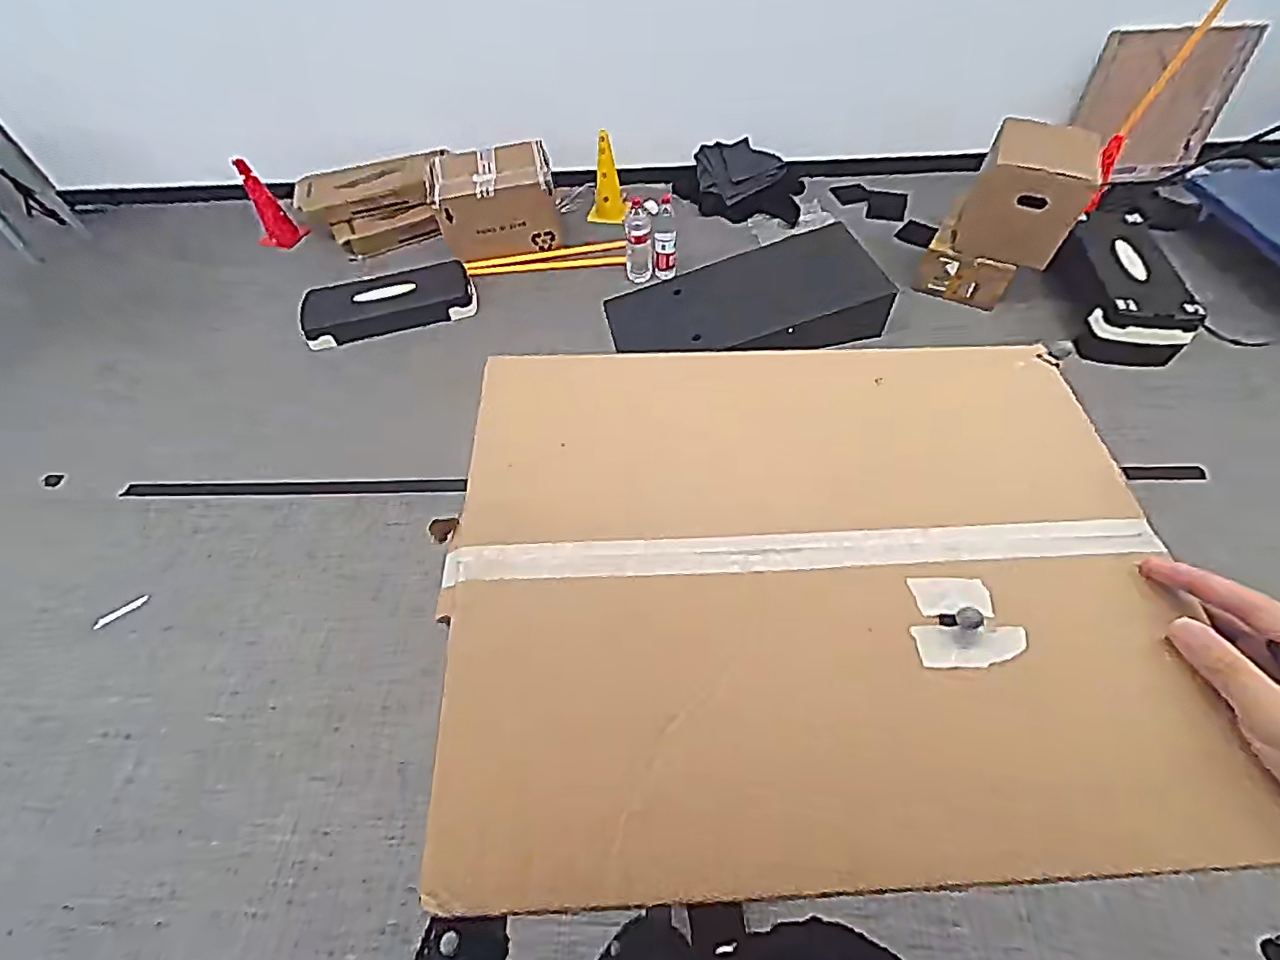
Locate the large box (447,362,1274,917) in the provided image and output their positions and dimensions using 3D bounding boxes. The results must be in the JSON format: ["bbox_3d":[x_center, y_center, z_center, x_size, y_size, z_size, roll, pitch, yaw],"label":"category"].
[{"bbox_3d":[0.095,0.125,0.450,0.408,0.320,0.320,-2,60,-3],"label":"large box"}]
